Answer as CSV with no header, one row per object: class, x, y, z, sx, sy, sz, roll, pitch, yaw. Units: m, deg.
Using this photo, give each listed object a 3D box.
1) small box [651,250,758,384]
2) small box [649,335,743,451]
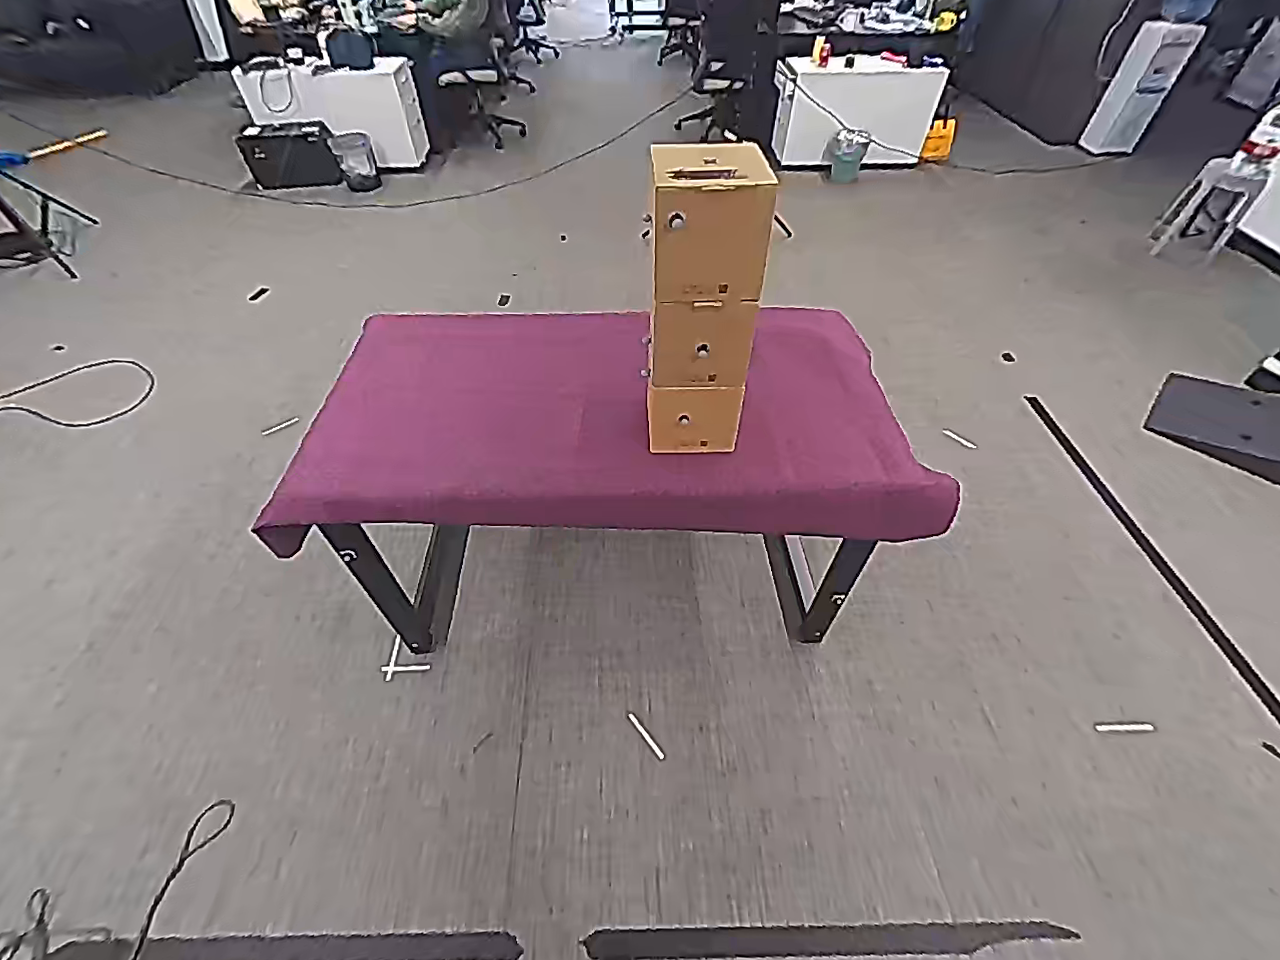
small box,0.104,-0.282,0.950,0.168,0.176,0.179,-1,49,0
small box,0.103,-0.170,1.070,0.168,0.176,0.179,-1,48,-1
